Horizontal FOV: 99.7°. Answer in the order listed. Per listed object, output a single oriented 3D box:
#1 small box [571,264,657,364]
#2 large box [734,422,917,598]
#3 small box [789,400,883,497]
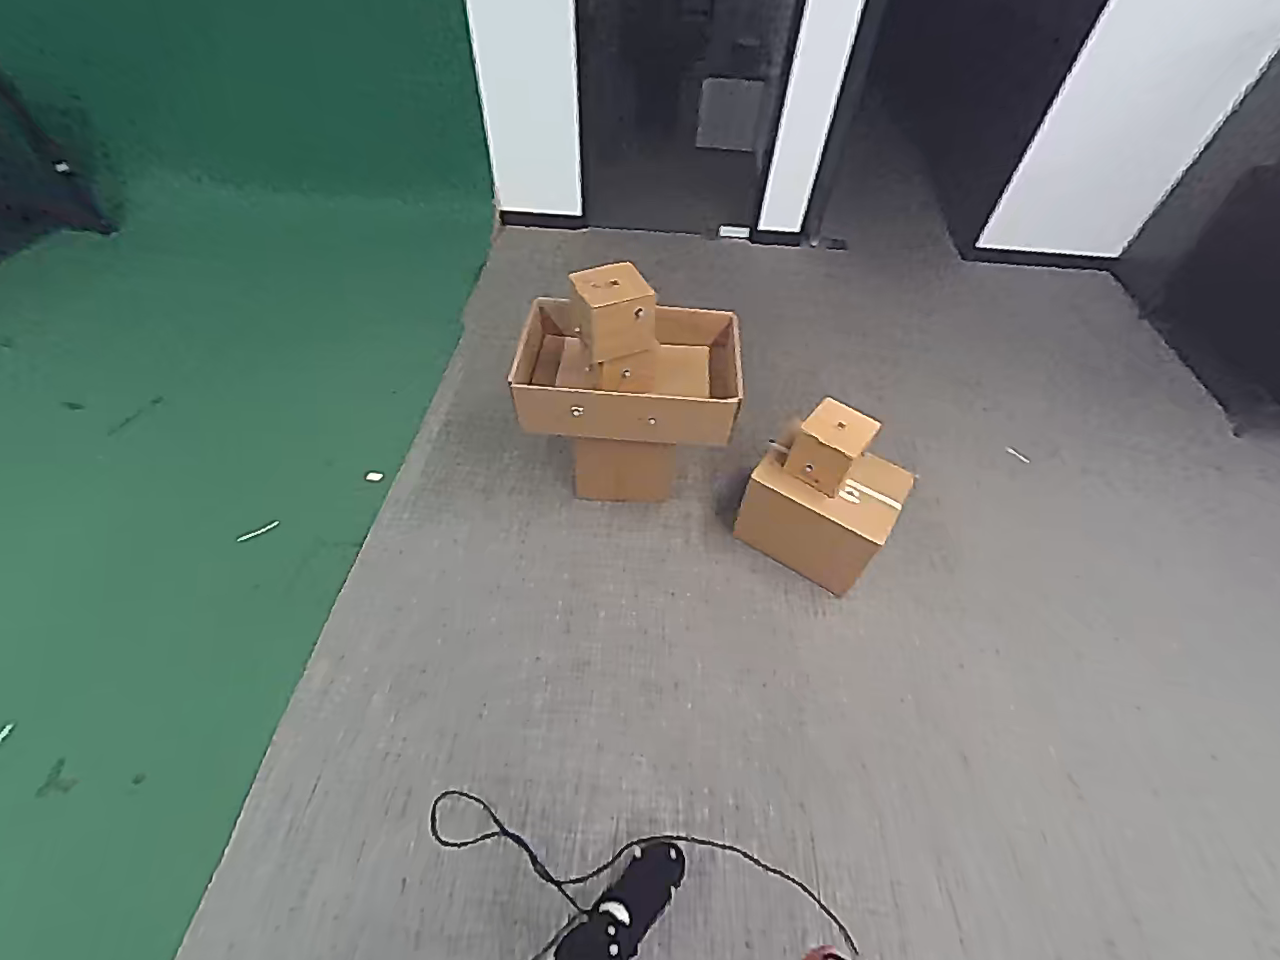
[{"bbox_3d":[-0.070,-0.433,1.416,0.179,0.176,0.168,-19,54,-16],"label":"small box"},{"bbox_3d":[0.561,0.092,1.689,0.408,0.320,0.320,30,56,18],"label":"large box"},{"bbox_3d":[0.542,-0.087,1.519,0.168,0.176,0.179,33,56,21],"label":"small box"}]
